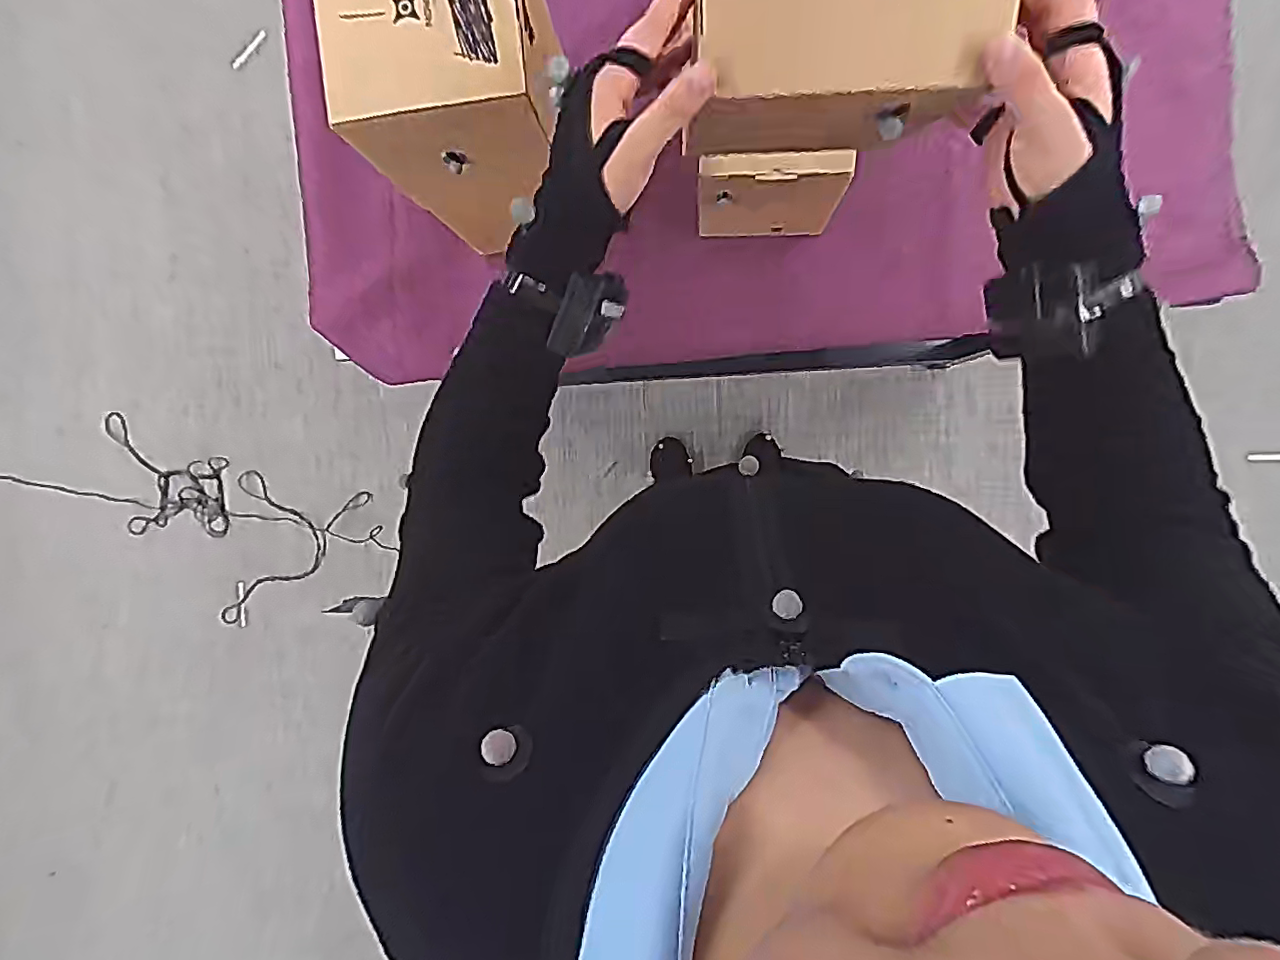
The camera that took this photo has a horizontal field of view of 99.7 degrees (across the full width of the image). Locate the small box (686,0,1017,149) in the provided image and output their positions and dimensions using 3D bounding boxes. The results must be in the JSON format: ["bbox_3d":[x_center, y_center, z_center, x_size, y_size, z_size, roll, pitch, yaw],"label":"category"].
[{"bbox_3d":[0.124,-0.335,0.362,0.179,0.176,0.168,-1,110,2],"label":"small box"}]

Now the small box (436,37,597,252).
[{"bbox_3d":[-0.160,-0.407,0.688,0.179,0.176,0.168,-5,93,5],"label":"small box"}]

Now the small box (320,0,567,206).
[{"bbox_3d":[-0.173,-0.391,0.525,0.179,0.176,0.168,-5,93,6],"label":"small box"}]
